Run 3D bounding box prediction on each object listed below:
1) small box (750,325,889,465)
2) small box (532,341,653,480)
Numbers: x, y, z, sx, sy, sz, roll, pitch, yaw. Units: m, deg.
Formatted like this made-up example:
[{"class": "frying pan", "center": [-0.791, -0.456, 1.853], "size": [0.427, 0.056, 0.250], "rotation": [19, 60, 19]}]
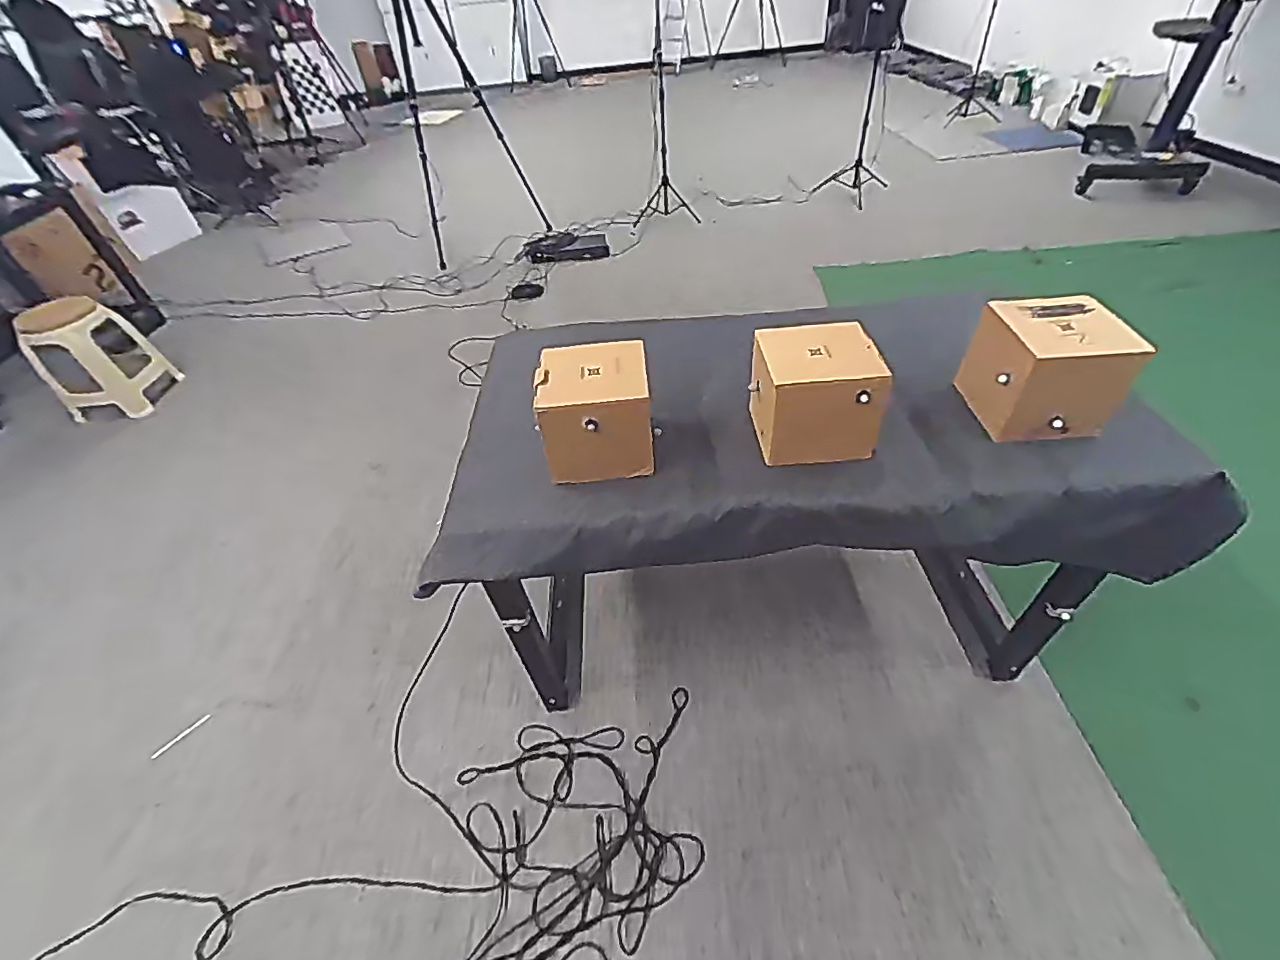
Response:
[{"class": "small box", "center": [0.283, -0.138, 0.902], "size": [0.179, 0.176, 0.168], "rotation": [-4, 44, 1]}, {"class": "small box", "center": [-0.073, -0.113, 0.910], "size": [0.179, 0.176, 0.168], "rotation": [-4, 45, 0]}]
